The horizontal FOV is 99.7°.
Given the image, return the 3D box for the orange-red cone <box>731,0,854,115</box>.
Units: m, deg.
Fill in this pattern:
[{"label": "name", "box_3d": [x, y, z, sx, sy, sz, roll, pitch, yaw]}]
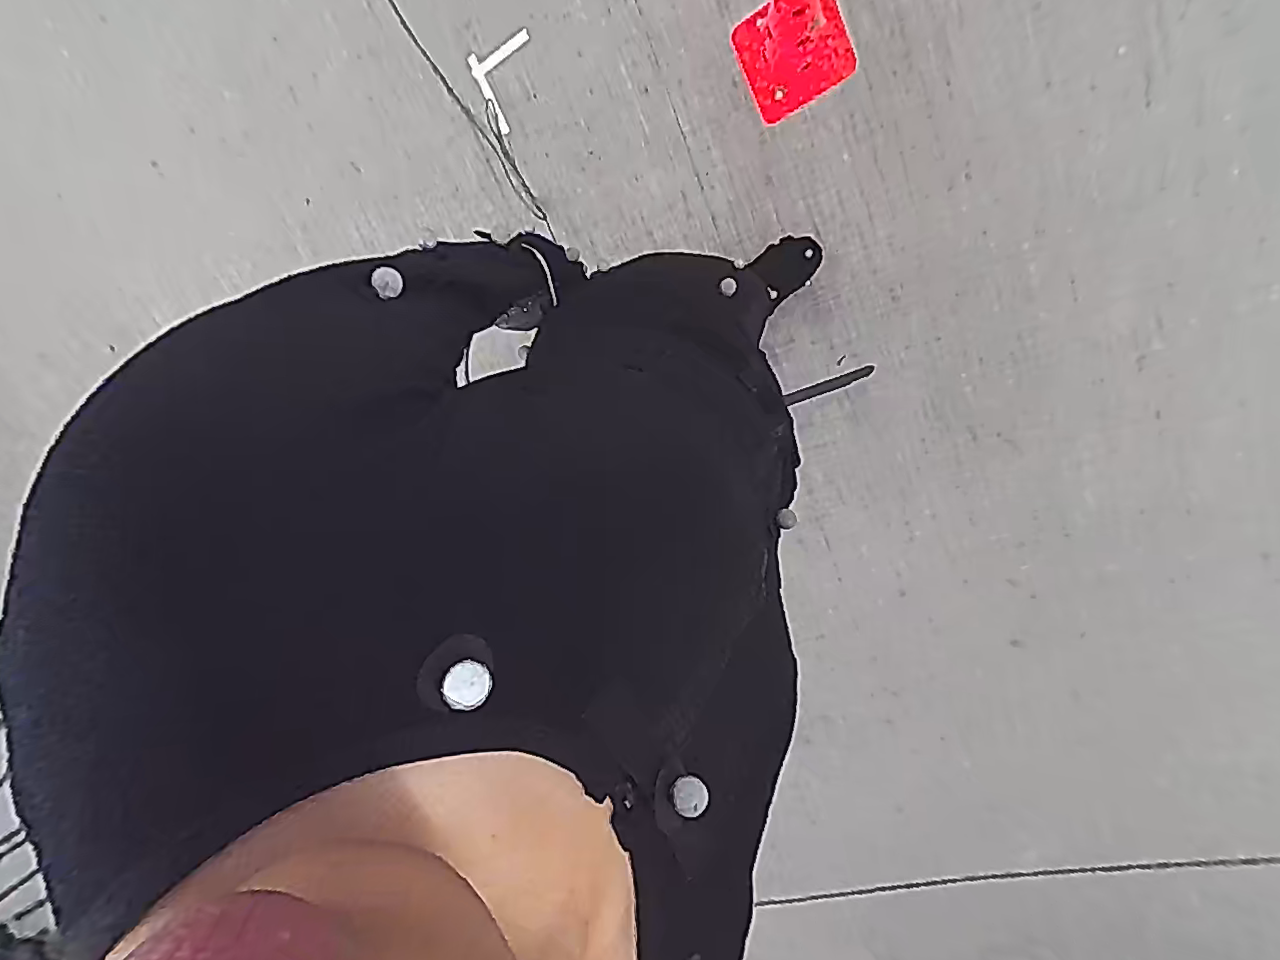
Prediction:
[{"label": "orange-red cone", "box_3d": [0.262, -0.805, 0.921, 0.199, 0.360, 0.198, -22, 106, 21]}]
